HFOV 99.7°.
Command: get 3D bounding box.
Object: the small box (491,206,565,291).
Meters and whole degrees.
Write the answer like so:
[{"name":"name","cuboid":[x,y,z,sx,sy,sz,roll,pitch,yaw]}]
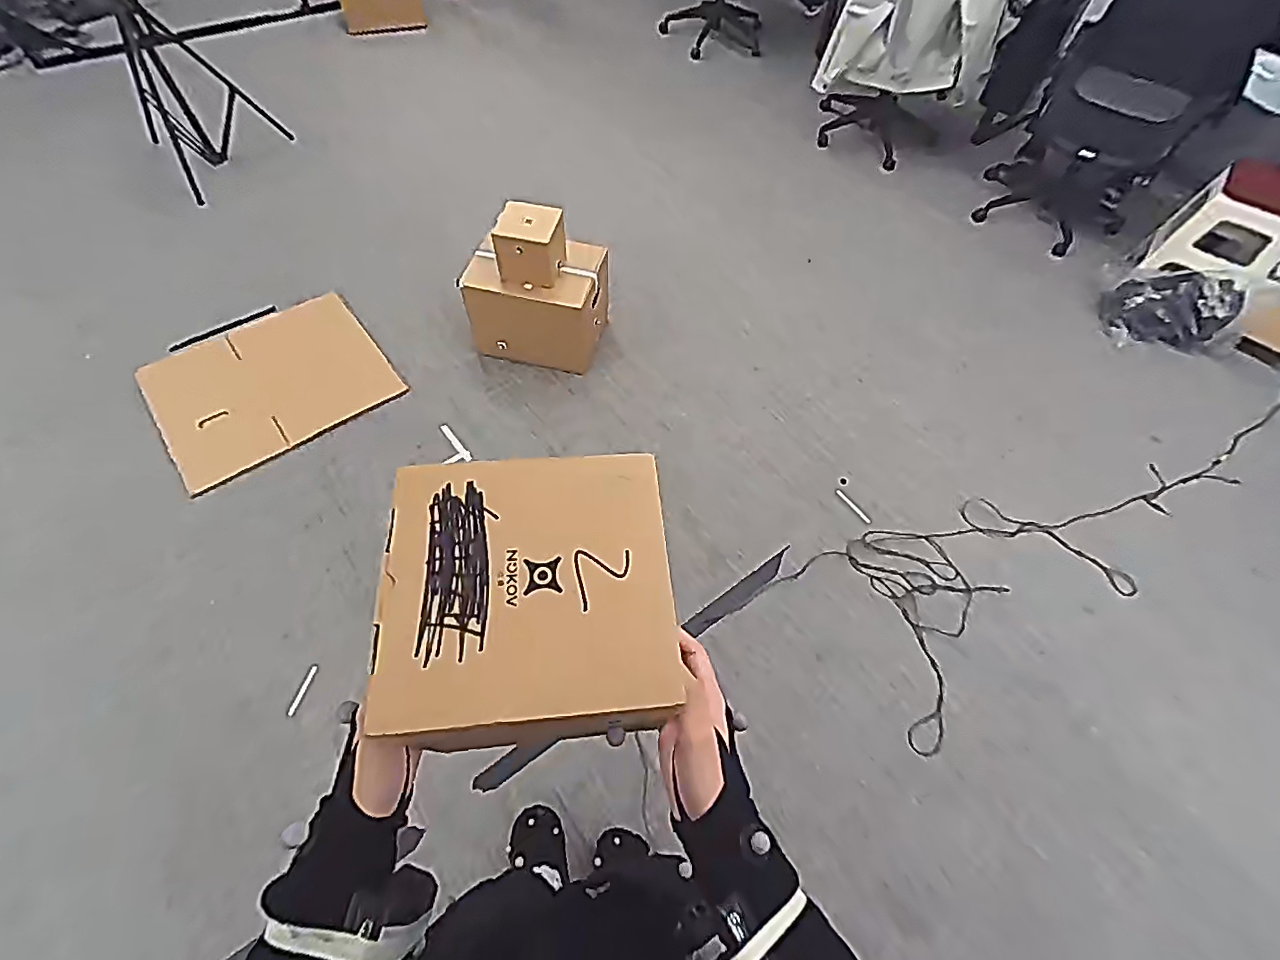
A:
[{"name":"small box","cuboid":[-0.338,-0.713,1.674,0.179,0.176,0.168,11,61,2]}]
